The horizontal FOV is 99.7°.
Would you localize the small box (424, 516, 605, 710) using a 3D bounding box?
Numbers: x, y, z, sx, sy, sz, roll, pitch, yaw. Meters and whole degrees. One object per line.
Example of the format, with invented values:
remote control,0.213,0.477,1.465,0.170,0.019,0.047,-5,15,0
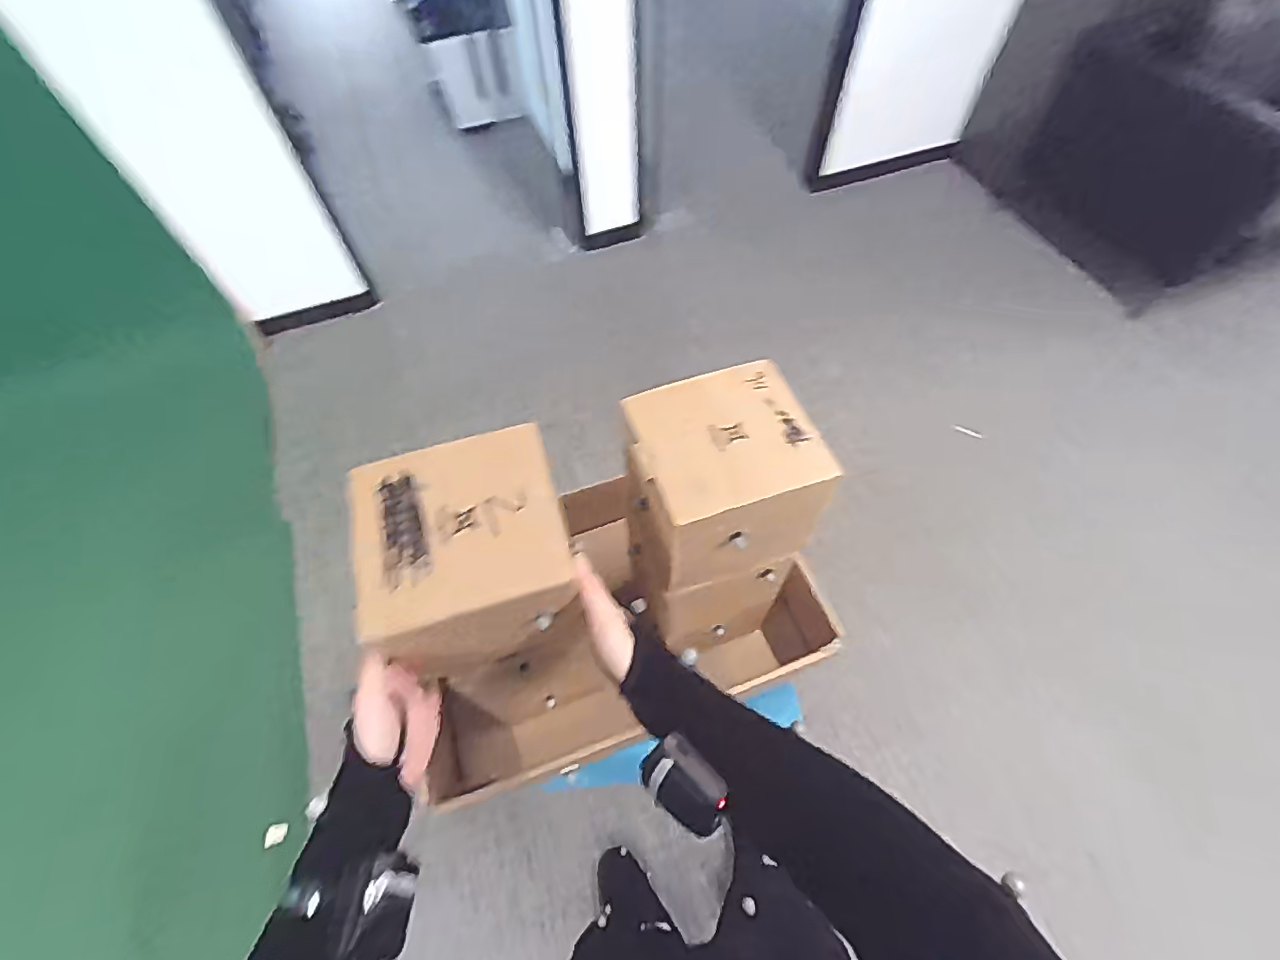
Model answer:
small box,-0.154,0.177,0.698,0.179,0.176,0.168,-18,59,-11
